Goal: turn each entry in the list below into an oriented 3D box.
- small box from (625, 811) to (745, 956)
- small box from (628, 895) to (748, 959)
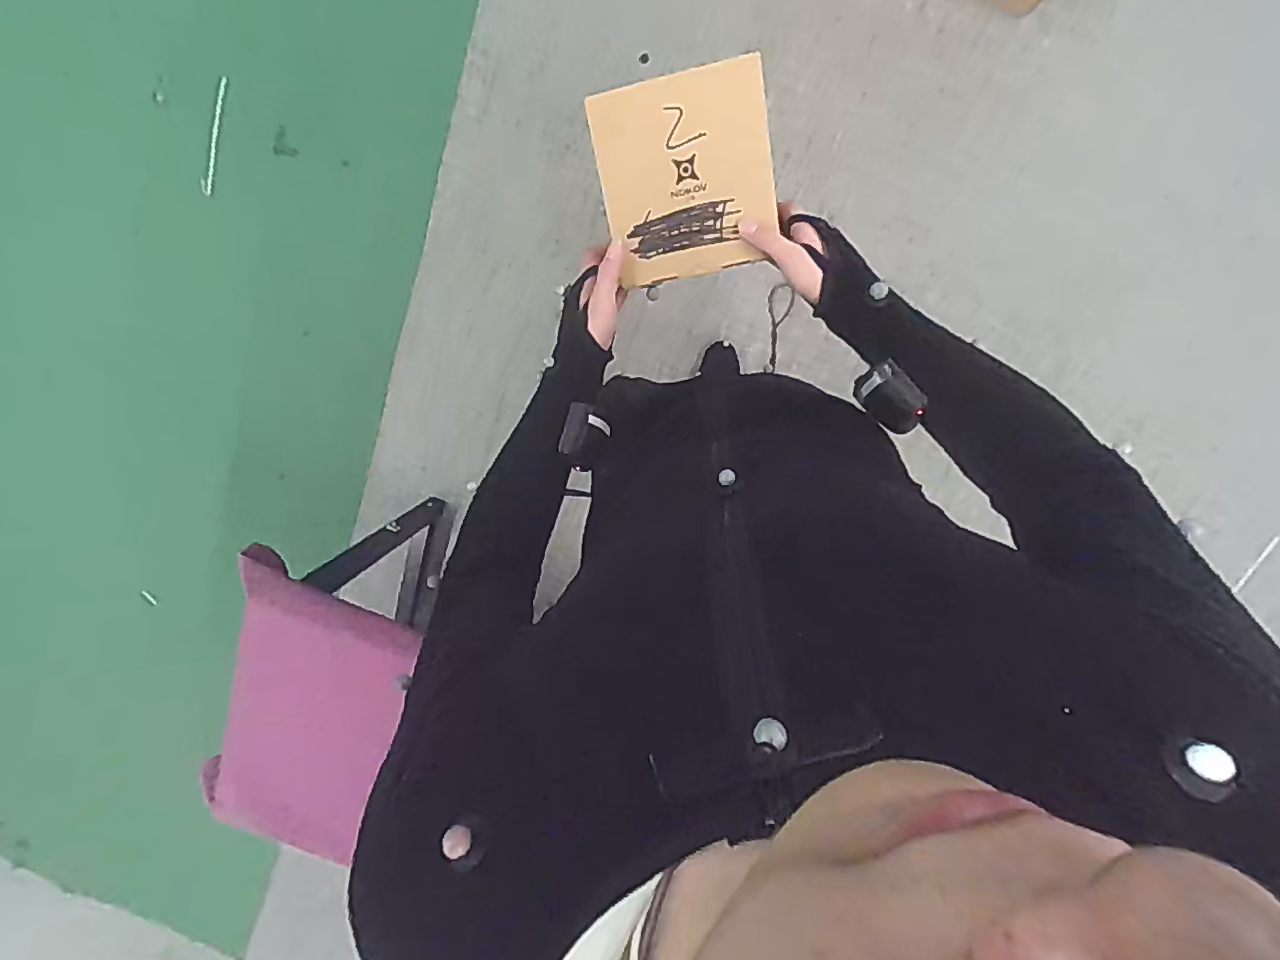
[{"bbox_3d":[0.086,0.773,1.009,0.168,0.176,0.179,20,106,1],"label":"small box"},{"bbox_3d":[0.069,0.809,0.850,0.168,0.176,0.179,20,108,1],"label":"small box"}]
